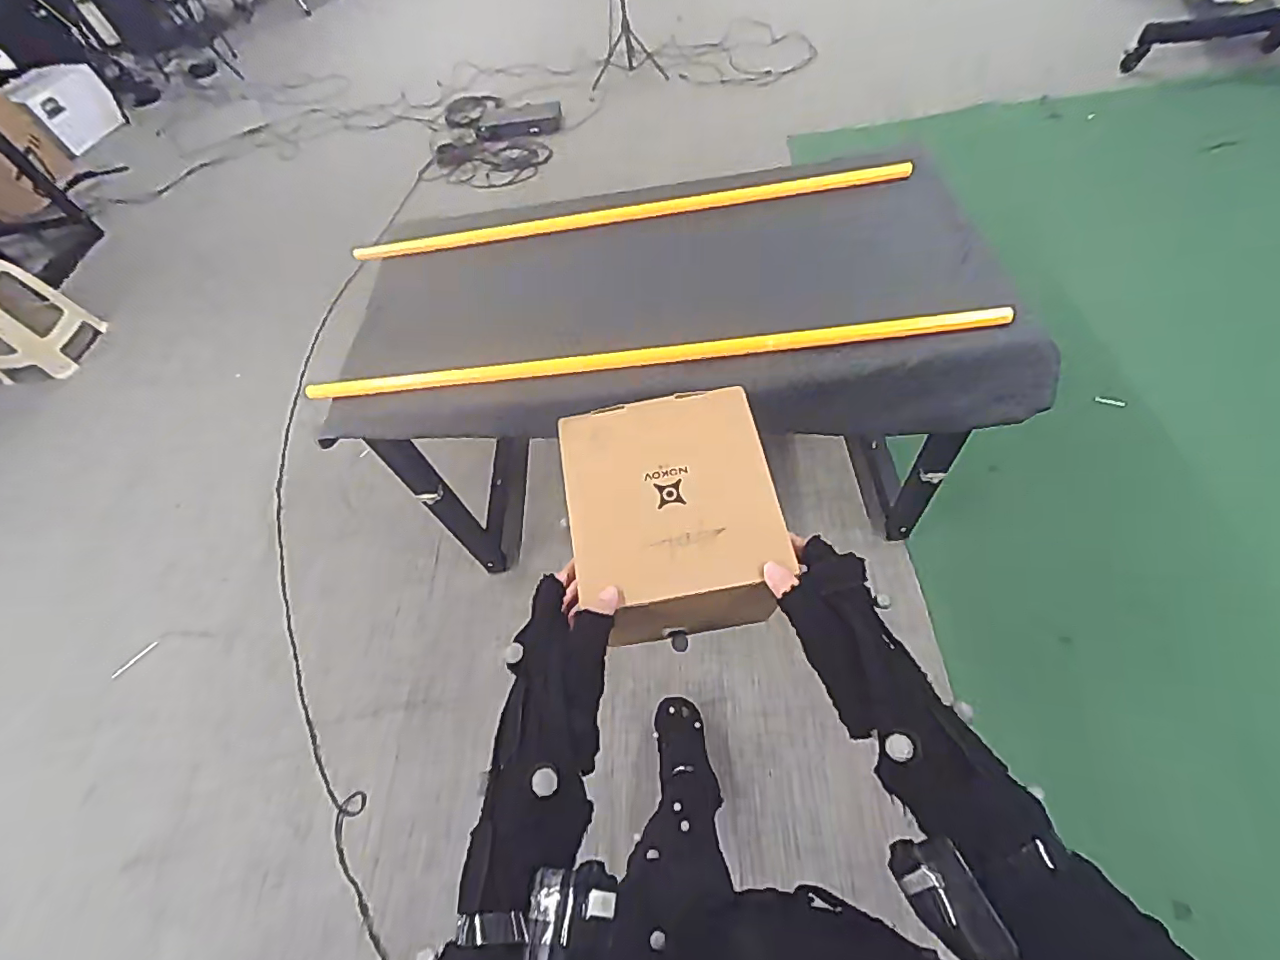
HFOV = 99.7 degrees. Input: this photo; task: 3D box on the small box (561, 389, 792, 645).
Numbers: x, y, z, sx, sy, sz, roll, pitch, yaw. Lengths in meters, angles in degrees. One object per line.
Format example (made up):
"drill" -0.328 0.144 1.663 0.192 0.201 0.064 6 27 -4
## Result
"small box" 0.027 0.043 0.511 0.168 0.176 0.179 -10 64 0
